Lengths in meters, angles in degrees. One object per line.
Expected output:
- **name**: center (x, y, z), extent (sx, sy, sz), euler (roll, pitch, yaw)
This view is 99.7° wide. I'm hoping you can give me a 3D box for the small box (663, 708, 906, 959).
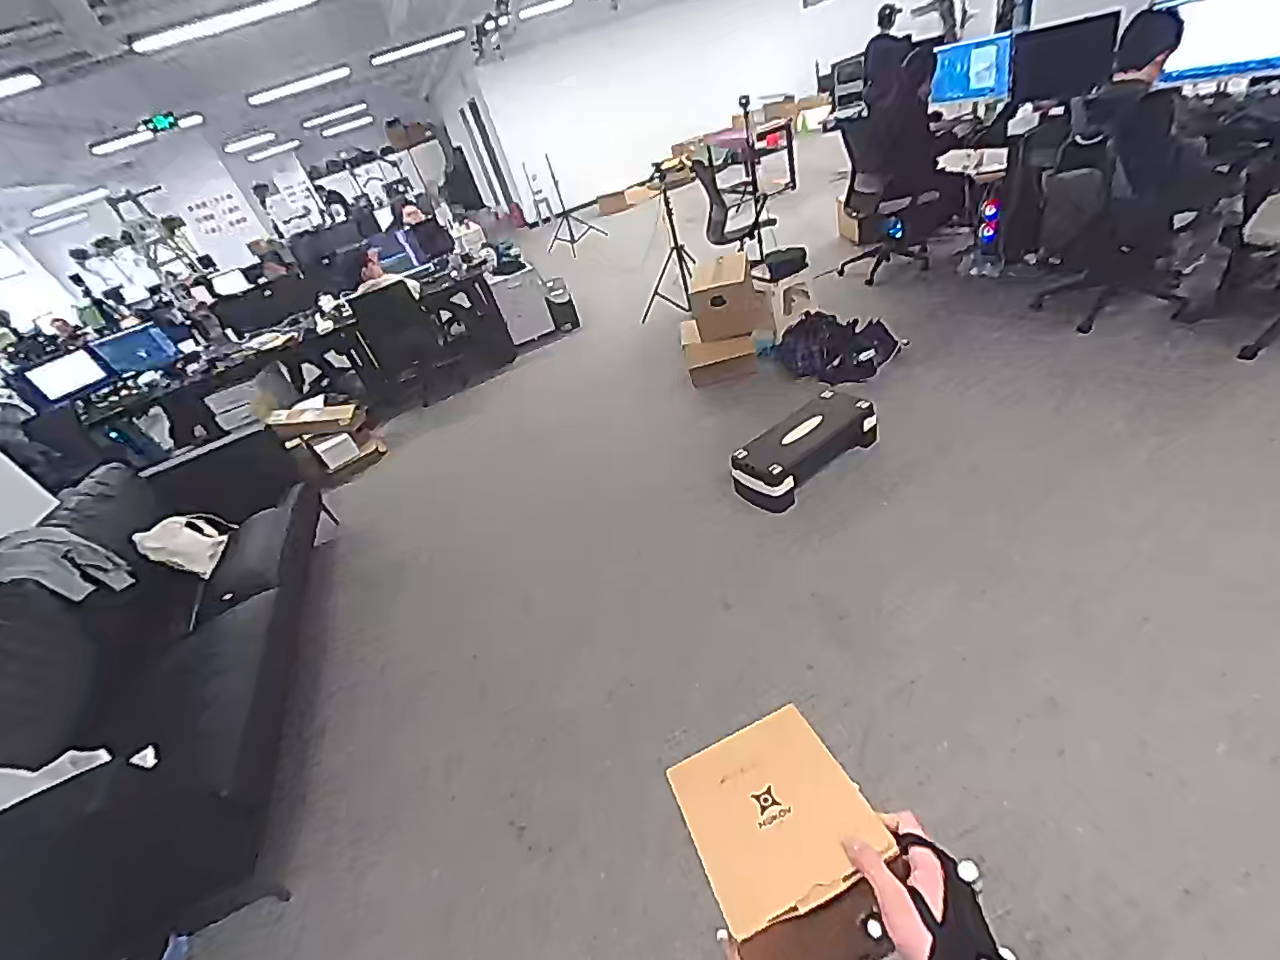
- **small box**: center (0.147, 0.389, 0.563), extent (0.168, 0.176, 0.179), euler (-24, 25, -8)
